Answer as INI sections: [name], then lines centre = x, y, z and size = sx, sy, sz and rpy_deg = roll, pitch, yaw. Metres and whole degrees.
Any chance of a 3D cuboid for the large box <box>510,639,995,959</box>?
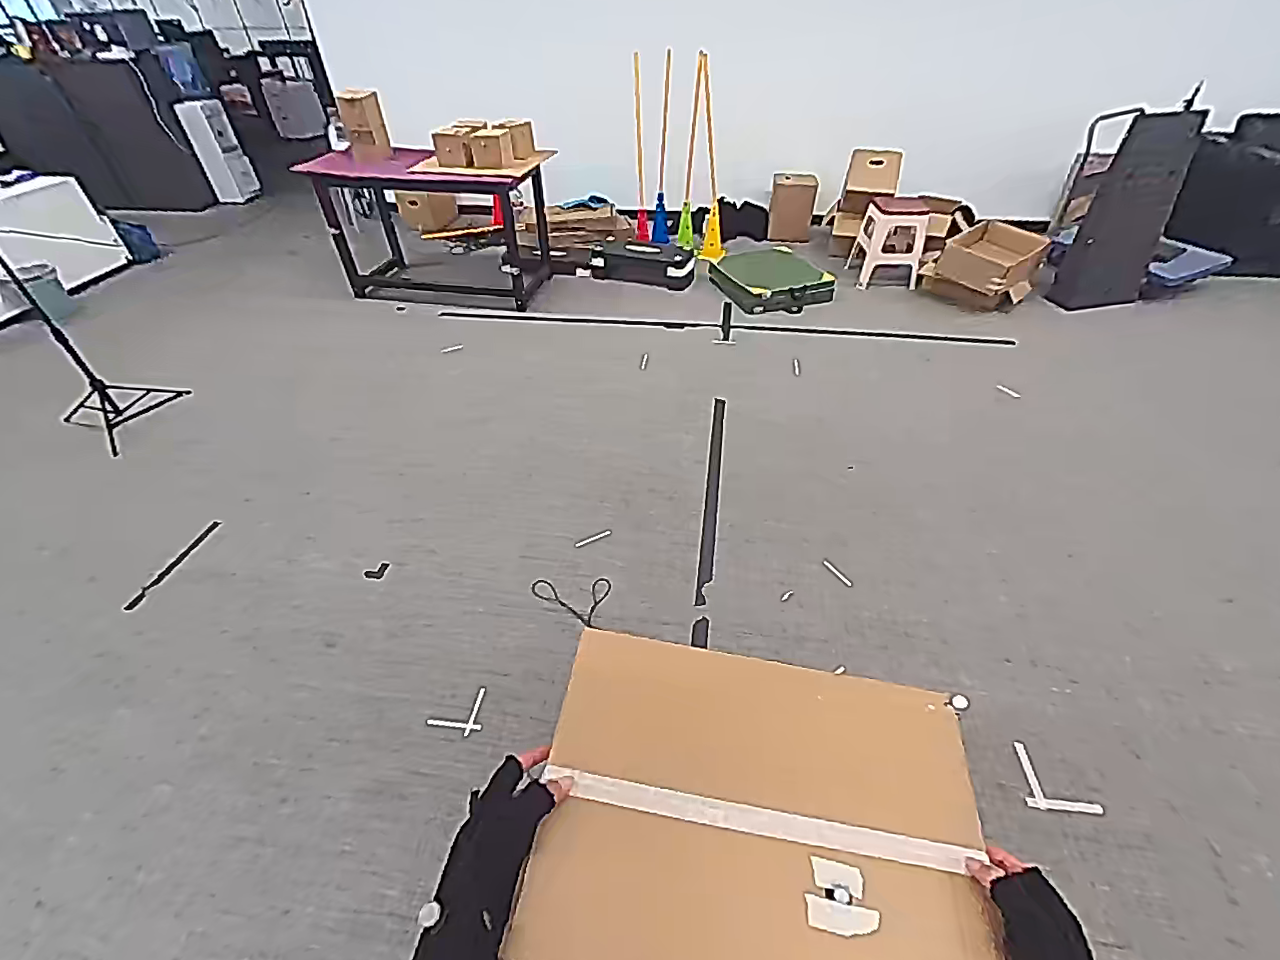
[large box]
centre = 0.101, 0.421, 0.615
size = 0.408, 0.320, 0.320
rpy_deg = 9, 48, 4
